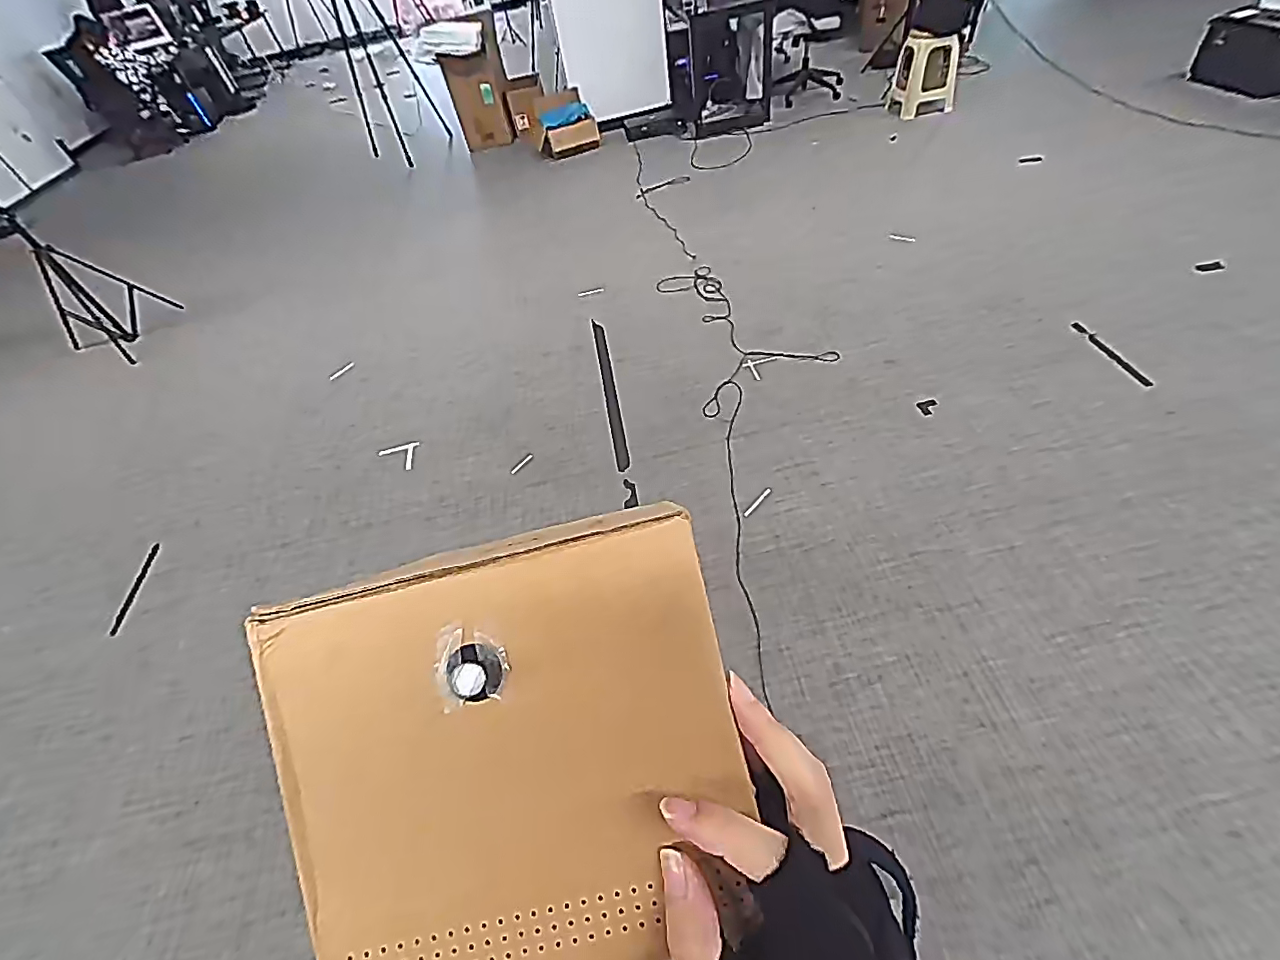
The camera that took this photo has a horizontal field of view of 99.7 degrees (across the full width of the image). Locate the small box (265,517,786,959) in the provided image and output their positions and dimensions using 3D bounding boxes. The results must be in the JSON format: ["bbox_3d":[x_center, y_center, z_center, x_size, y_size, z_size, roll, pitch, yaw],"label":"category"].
[{"bbox_3d":[-0.043,0.122,0.284,0.179,0.168,0.176,-13,89,1],"label":"small box"}]
